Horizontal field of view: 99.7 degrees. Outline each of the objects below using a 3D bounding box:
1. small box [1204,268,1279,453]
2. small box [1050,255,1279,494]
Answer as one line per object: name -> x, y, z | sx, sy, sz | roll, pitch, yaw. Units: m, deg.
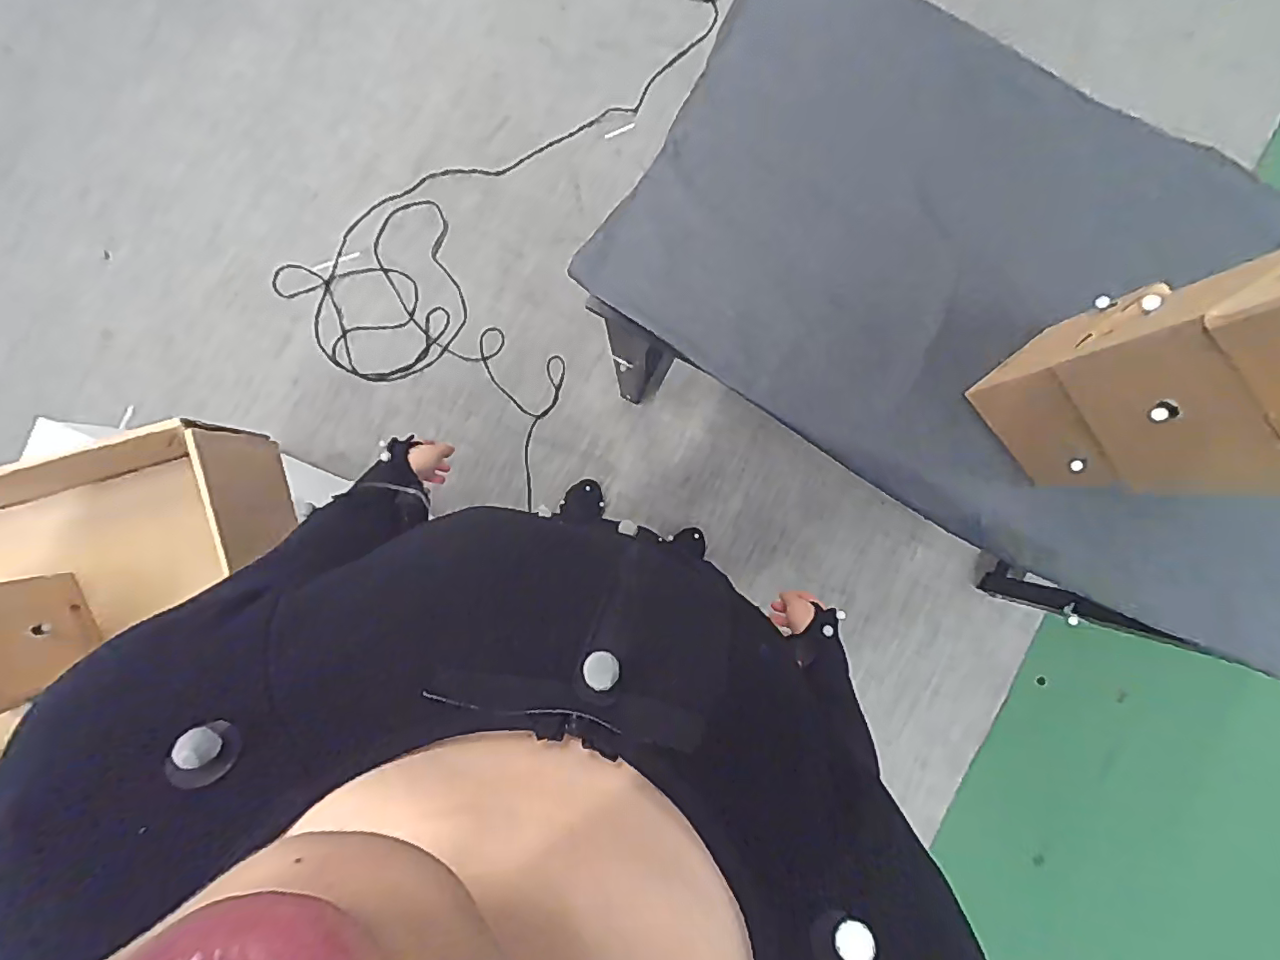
small box -> 0.571, -0.108, 0.371 | 0.168, 0.176, 0.179 | -33, 89, -3
small box -> 0.572, -0.099, 0.533 | 0.168, 0.176, 0.179 | -30, 88, -2
